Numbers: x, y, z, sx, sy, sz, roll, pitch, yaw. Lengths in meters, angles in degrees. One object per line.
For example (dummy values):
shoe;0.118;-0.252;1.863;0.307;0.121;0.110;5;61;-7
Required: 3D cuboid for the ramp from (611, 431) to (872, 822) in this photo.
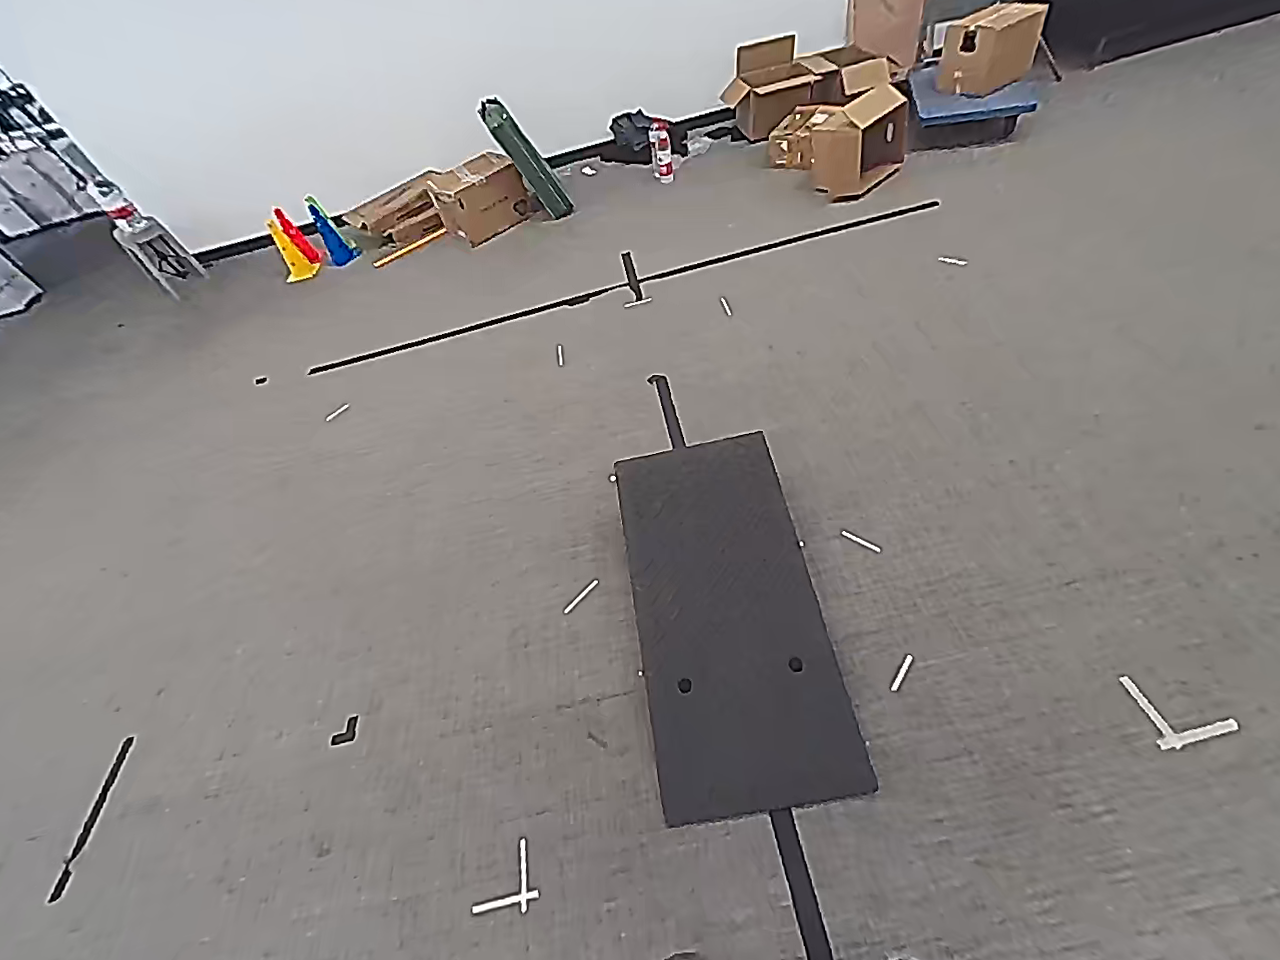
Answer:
ramp;0.220;0.319;1.485;0.509;0.206;0.991;-13;49;2
